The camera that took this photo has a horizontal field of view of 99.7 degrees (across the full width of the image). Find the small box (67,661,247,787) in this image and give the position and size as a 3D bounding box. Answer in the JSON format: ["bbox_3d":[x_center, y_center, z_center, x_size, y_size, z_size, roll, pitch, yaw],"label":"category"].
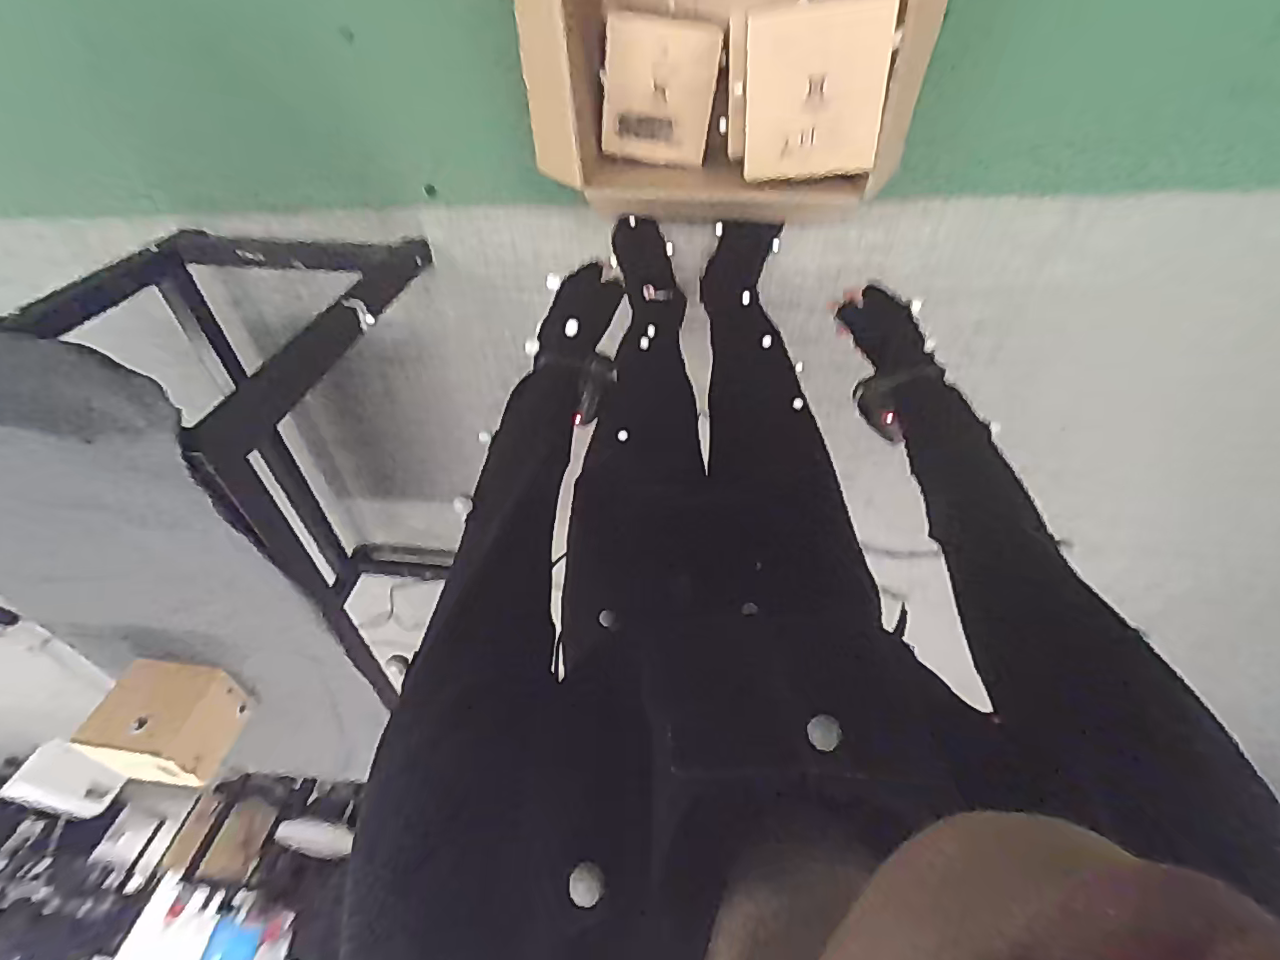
[{"bbox_3d":[-0.918,0.474,1.056,0.179,0.176,0.168,7,133,2],"label":"small box"}]
